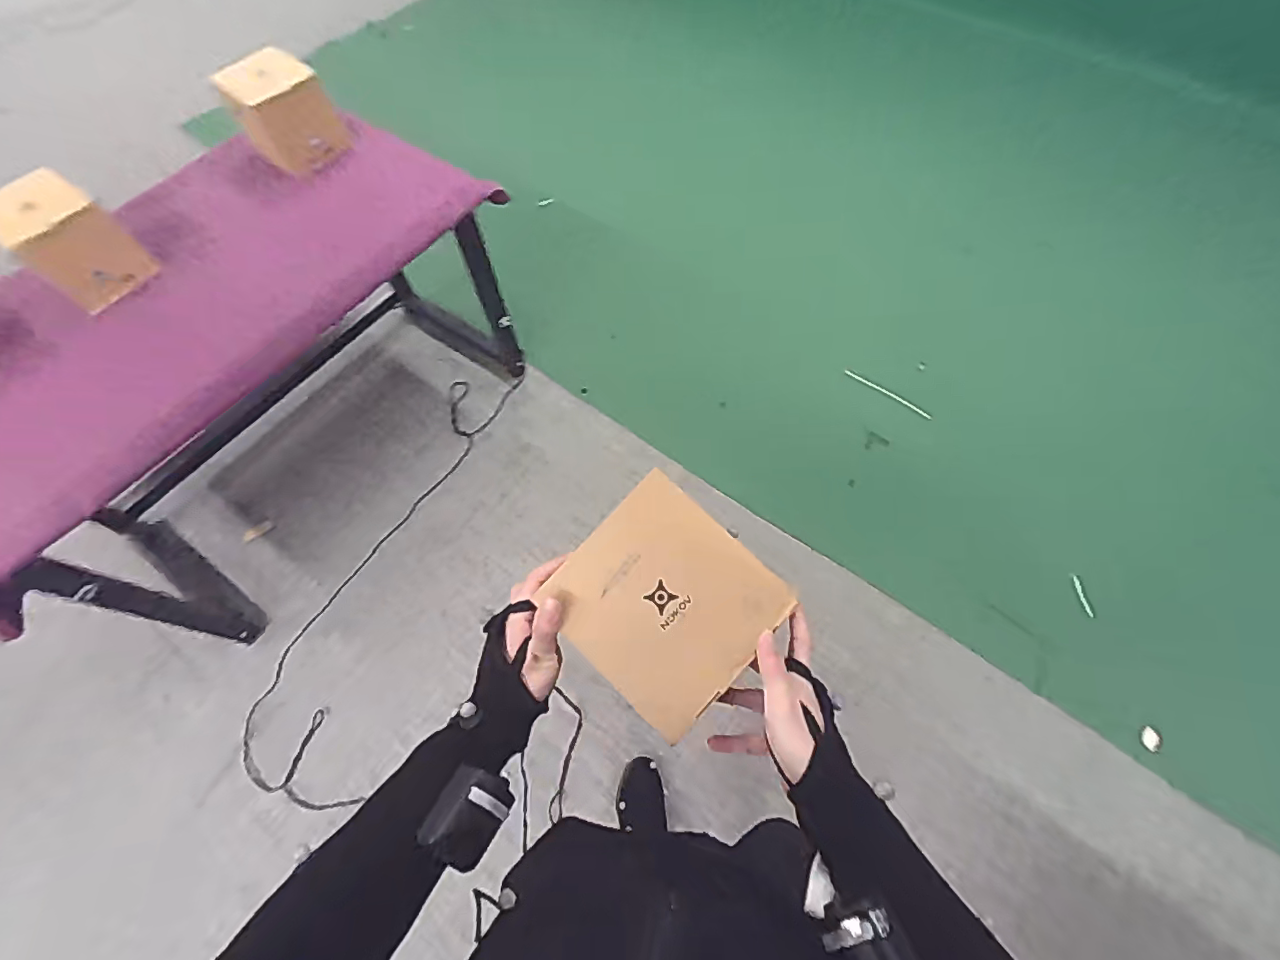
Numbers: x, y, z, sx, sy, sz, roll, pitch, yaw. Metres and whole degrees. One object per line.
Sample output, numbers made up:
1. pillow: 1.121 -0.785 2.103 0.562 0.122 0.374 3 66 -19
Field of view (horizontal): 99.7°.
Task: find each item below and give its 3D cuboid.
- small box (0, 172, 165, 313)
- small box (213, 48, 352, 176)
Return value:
1. small box: -1.134 -0.470 1.086 0.179 0.176 0.168 32 69 15
2. small box: -0.822 -0.850 1.260 0.179 0.176 0.168 38 72 17
